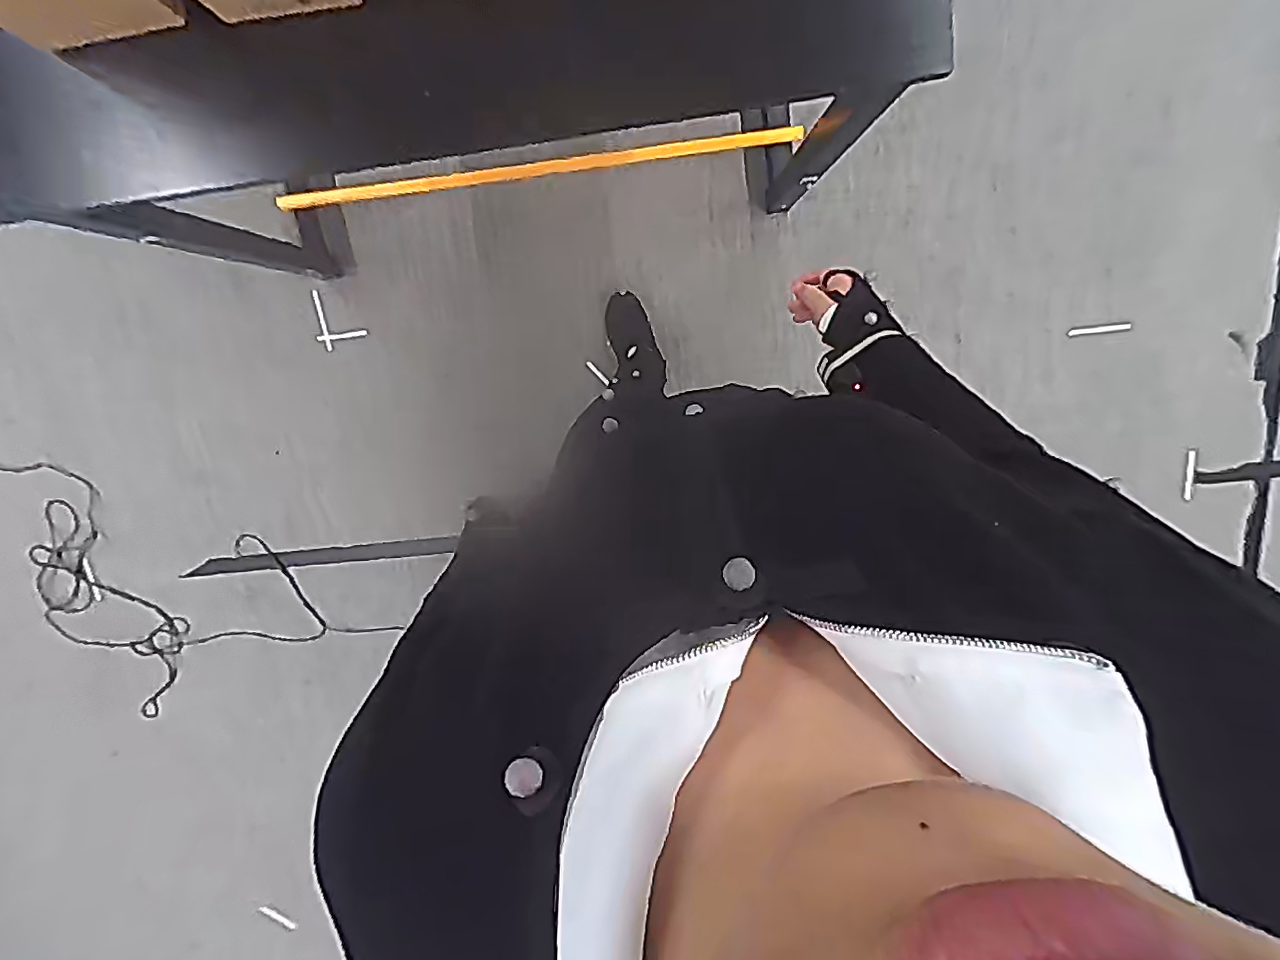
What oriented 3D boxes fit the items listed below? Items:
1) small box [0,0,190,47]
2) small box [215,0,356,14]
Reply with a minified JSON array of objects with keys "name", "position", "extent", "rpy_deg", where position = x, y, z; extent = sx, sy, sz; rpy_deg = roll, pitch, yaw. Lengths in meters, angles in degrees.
[{"name":"small box","position":[-0.620,-0.577,0.540],"extent":[0.179,0.176,0.168],"rpy_deg":[-9,103,2]},{"name":"small box","position":[-0.406,-0.604,0.531],"extent":[0.168,0.176,0.179],"rpy_deg":[-6,104,3]}]
